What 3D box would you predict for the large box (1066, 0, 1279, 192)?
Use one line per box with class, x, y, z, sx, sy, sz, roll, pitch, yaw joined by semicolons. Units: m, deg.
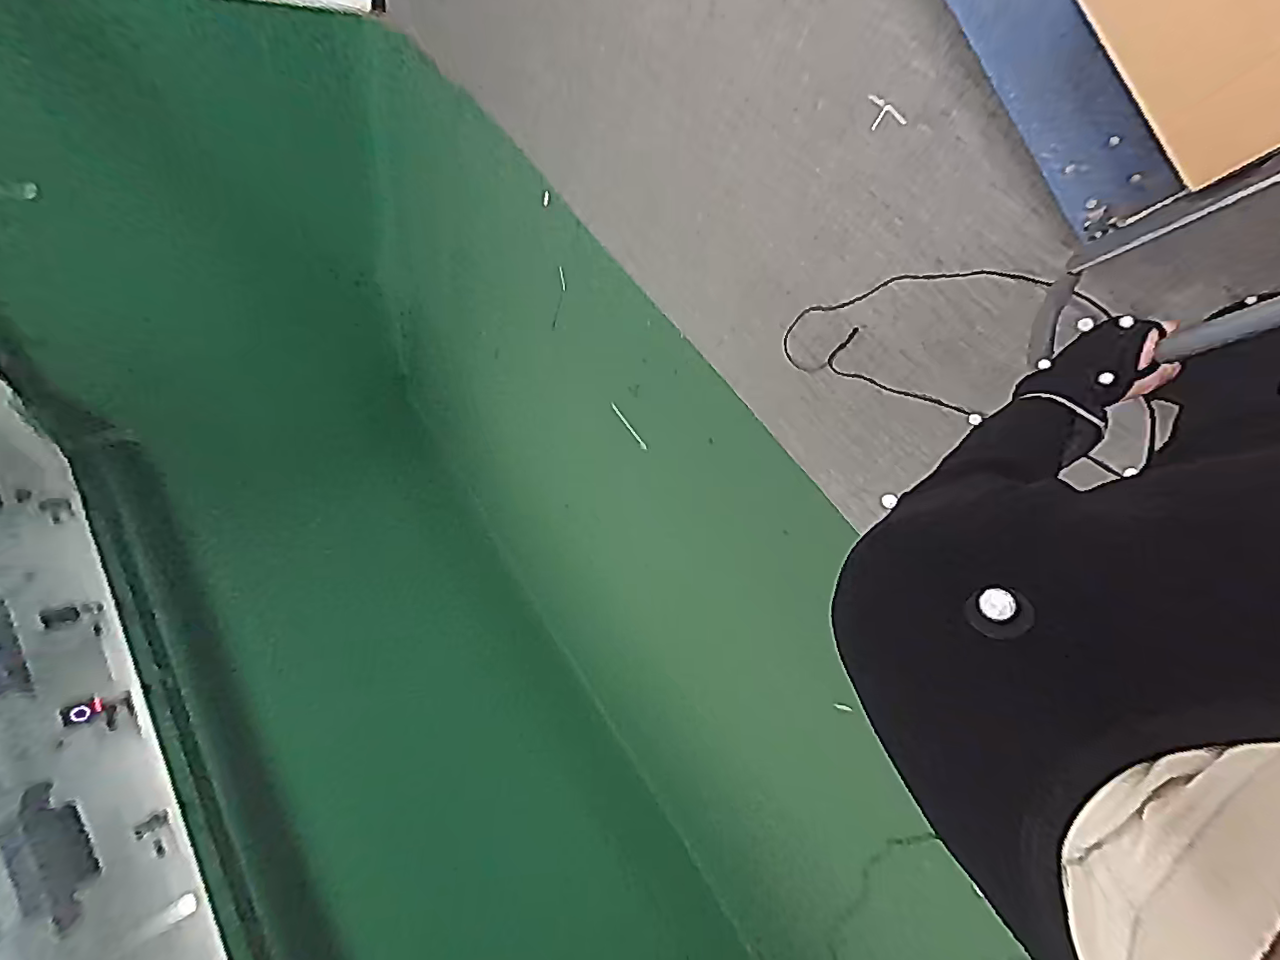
large box;0.861;-0.686;0.729;0.408;0.320;0.320;56;145;-2
